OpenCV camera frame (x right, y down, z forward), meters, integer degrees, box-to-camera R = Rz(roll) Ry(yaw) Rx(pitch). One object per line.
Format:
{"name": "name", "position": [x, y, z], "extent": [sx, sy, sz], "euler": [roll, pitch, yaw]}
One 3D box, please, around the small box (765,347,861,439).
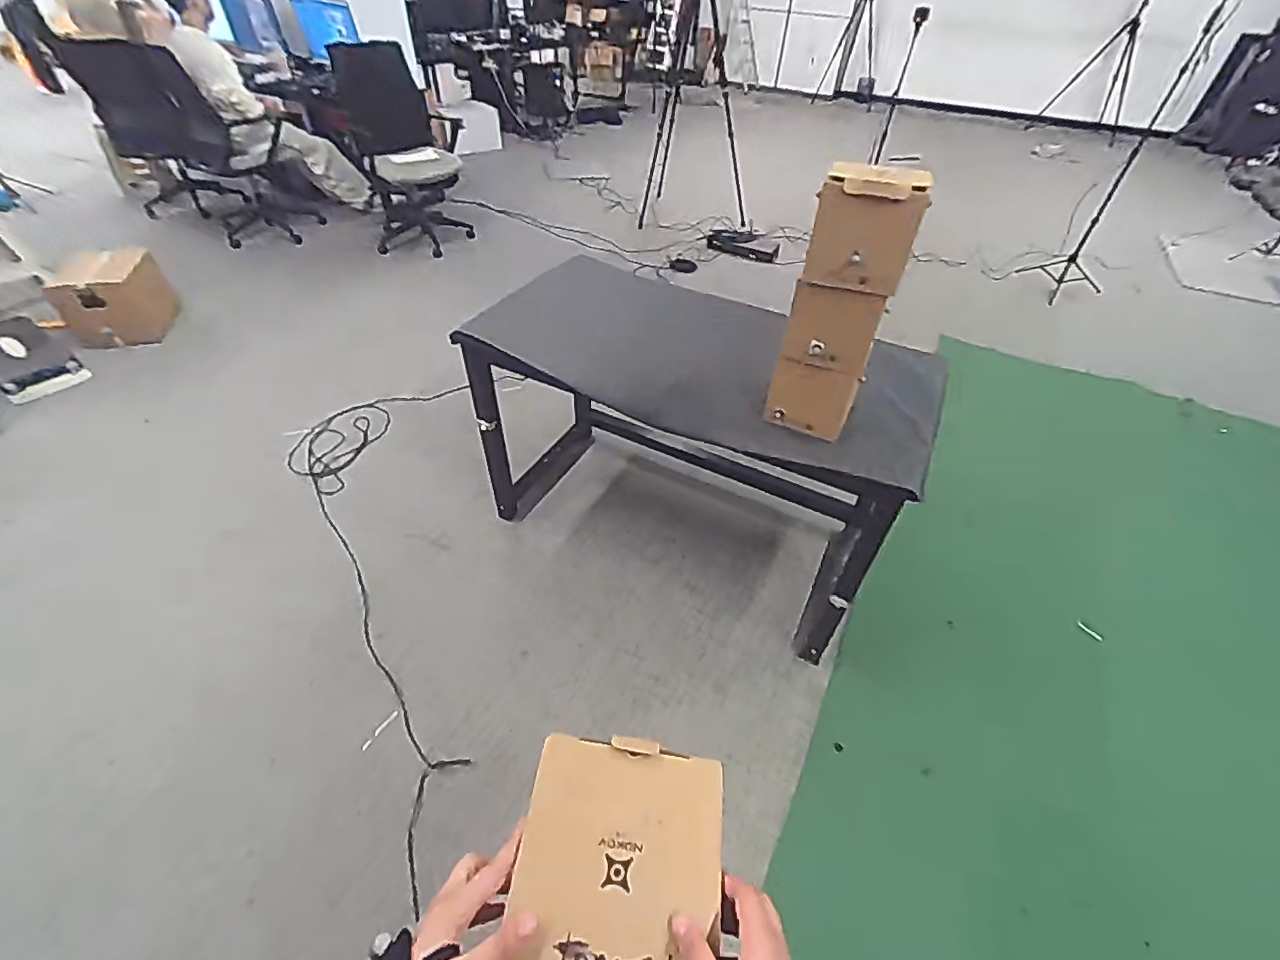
{"name": "small box", "position": [0.388, -0.216, 1.196], "extent": [0.168, 0.176, 0.179], "euler": [21, 44, 19]}

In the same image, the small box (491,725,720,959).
{"name": "small box", "position": [-0.024, 0.355, 0.500], "extent": [0.168, 0.176, 0.179], "euler": [8, 48, 2]}

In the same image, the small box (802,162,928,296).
{"name": "small box", "position": [0.398, -0.452, 0.968], "extent": [0.168, 0.176, 0.179], "euler": [15, 43, 15]}

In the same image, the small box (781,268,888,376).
{"name": "small box", "position": [0.392, -0.335, 1.085], "extent": [0.168, 0.176, 0.179], "euler": [18, 45, 17]}
